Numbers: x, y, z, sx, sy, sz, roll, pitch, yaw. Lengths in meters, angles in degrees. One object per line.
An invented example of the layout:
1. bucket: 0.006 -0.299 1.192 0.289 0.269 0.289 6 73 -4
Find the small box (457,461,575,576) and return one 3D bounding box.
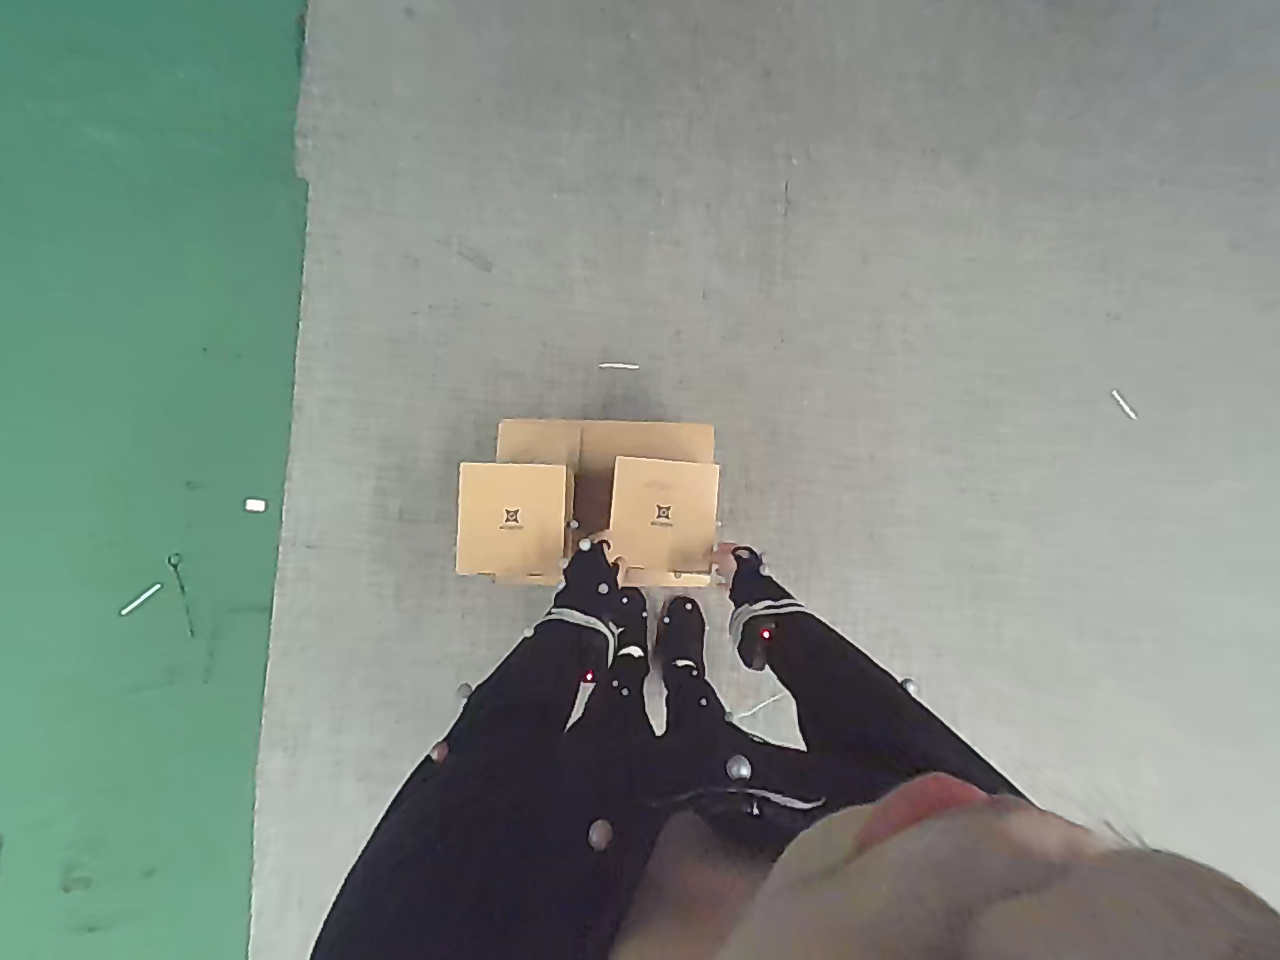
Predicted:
1. small box: -0.200 0.062 0.914 0.168 0.176 0.179 1 88 -2

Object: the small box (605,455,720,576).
1. small box: 0.037 0.060 0.916 0.168 0.176 0.179 5 86 0
